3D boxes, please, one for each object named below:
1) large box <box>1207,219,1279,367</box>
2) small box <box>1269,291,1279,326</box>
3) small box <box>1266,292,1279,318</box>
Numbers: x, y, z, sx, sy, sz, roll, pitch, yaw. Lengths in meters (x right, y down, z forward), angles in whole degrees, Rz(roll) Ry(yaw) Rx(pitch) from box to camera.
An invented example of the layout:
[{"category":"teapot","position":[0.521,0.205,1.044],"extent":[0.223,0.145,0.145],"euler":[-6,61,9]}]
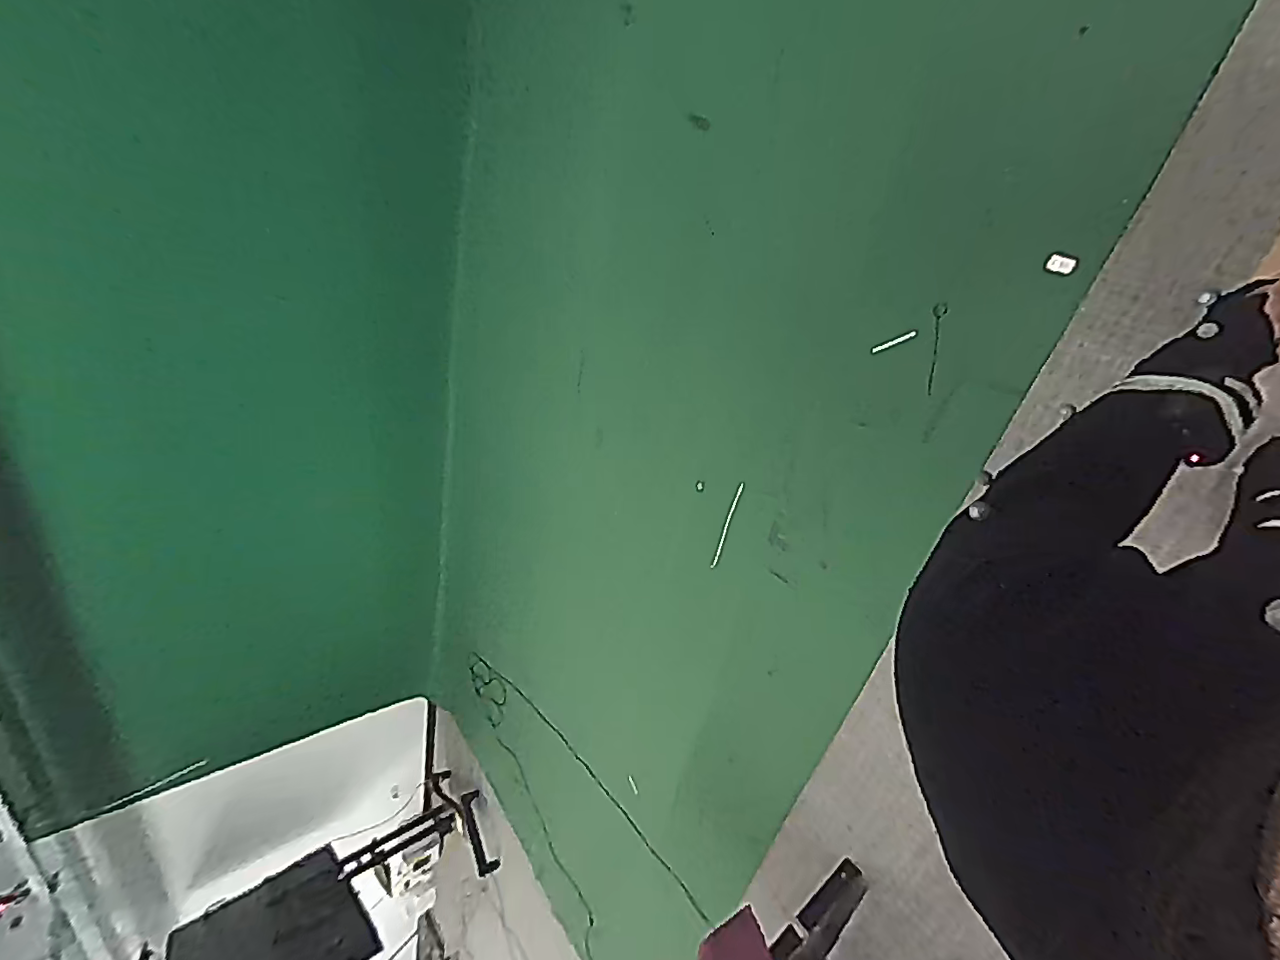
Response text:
[{"category":"large box","position":[1.103,-0.331,0.736],"extent":[0.320,0.320,0.408],"euler":[36,123,40]},{"category":"small box","position":[0.601,-0.190,0.377],"extent":[0.168,0.176,0.179],"euler":[24,116,46]},{"category":"small box","position":[0.894,-0.247,0.620],"extent":[0.179,0.176,0.168],"euler":[36,122,41]}]
